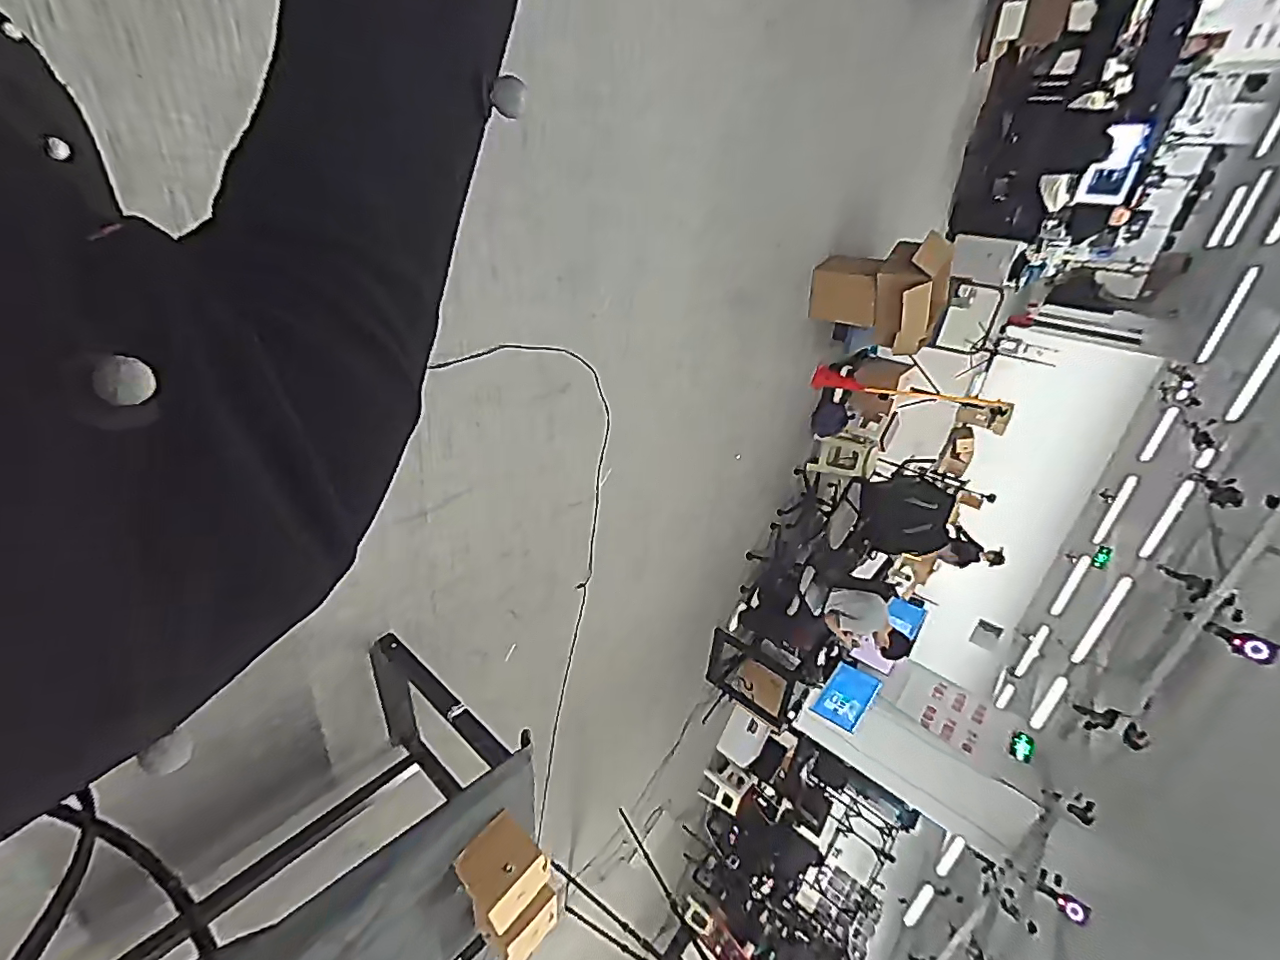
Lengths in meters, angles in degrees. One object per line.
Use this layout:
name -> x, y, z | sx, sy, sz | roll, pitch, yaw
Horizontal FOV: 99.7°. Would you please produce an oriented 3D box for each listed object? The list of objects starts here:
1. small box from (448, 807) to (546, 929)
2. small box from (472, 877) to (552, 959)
small box -> -0.376, 1.019, 1.433 | 0.179, 0.176, 0.168 | -34, 137, -36
small box -> -0.378, 1.249, 1.587 | 0.179, 0.176, 0.168 | -26, 131, -43
